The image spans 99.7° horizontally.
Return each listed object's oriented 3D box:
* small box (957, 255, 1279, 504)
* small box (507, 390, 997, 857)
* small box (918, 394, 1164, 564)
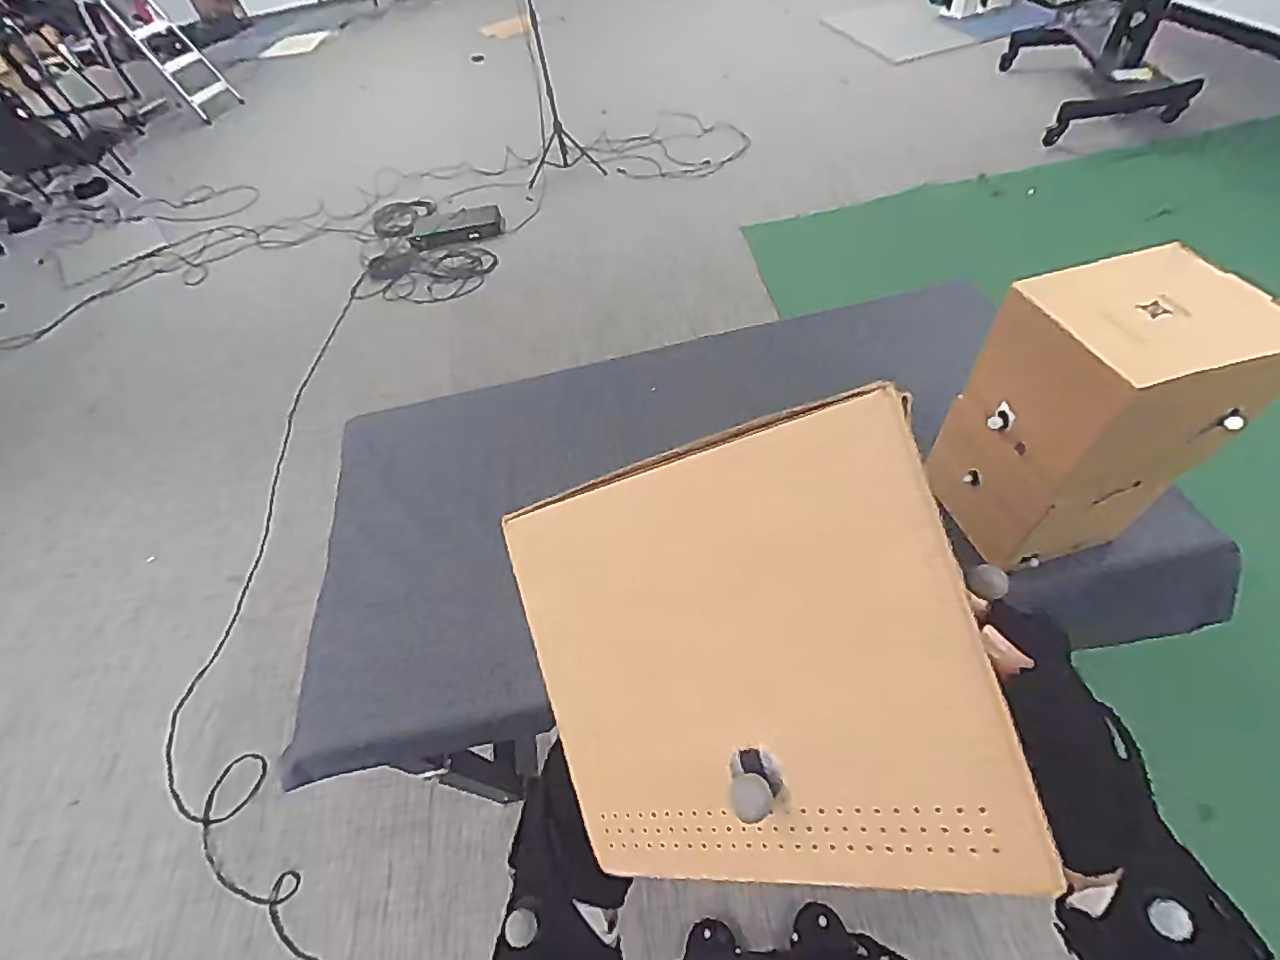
[{"bbox_3d":[0.477,-0.100,0.565,0.179,0.176,0.168,-15,51,0],"label":"small box"},{"bbox_3d":[0.065,0.066,0.289,0.179,0.168,0.176,-18,85,26],"label":"small box"},{"bbox_3d":[0.497,-0.010,0.699,0.168,0.176,0.179,-16,52,-3],"label":"small box"}]
